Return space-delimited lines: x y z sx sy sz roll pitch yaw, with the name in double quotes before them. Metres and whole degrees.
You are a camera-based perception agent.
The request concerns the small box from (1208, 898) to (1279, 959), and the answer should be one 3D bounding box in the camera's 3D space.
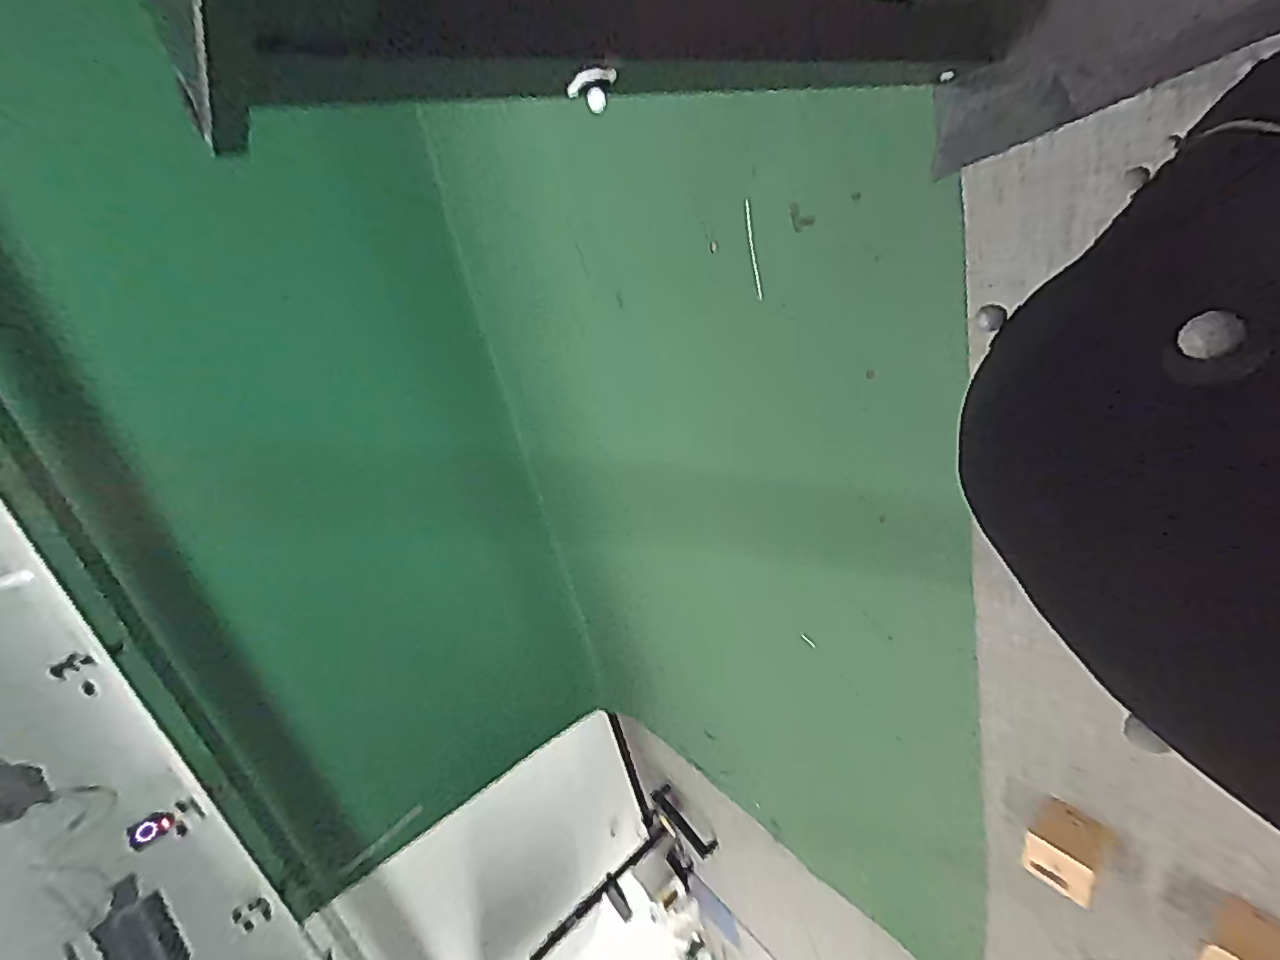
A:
"small box" 1.551 1.200 1.339 0.168 0.176 0.179 23 131 50
